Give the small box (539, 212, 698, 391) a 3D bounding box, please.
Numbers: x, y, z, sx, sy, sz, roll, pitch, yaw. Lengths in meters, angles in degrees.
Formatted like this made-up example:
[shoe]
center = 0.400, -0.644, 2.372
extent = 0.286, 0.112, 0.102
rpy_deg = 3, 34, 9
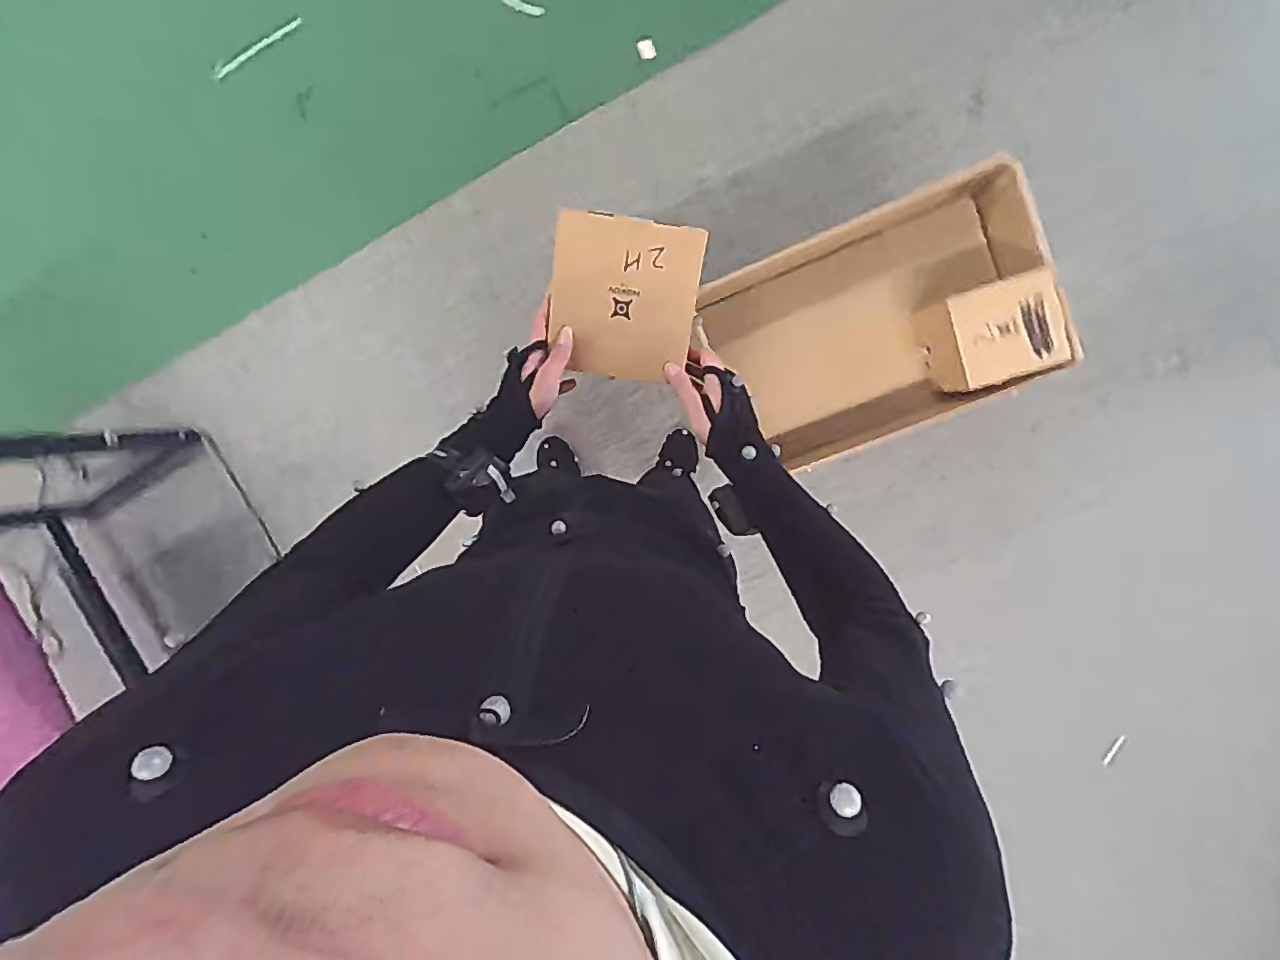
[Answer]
[small box]
center = -0.027, -0.222, 0.684
extent = 0.168, 0.176, 0.179
rpy_deg = 7, 109, -3
